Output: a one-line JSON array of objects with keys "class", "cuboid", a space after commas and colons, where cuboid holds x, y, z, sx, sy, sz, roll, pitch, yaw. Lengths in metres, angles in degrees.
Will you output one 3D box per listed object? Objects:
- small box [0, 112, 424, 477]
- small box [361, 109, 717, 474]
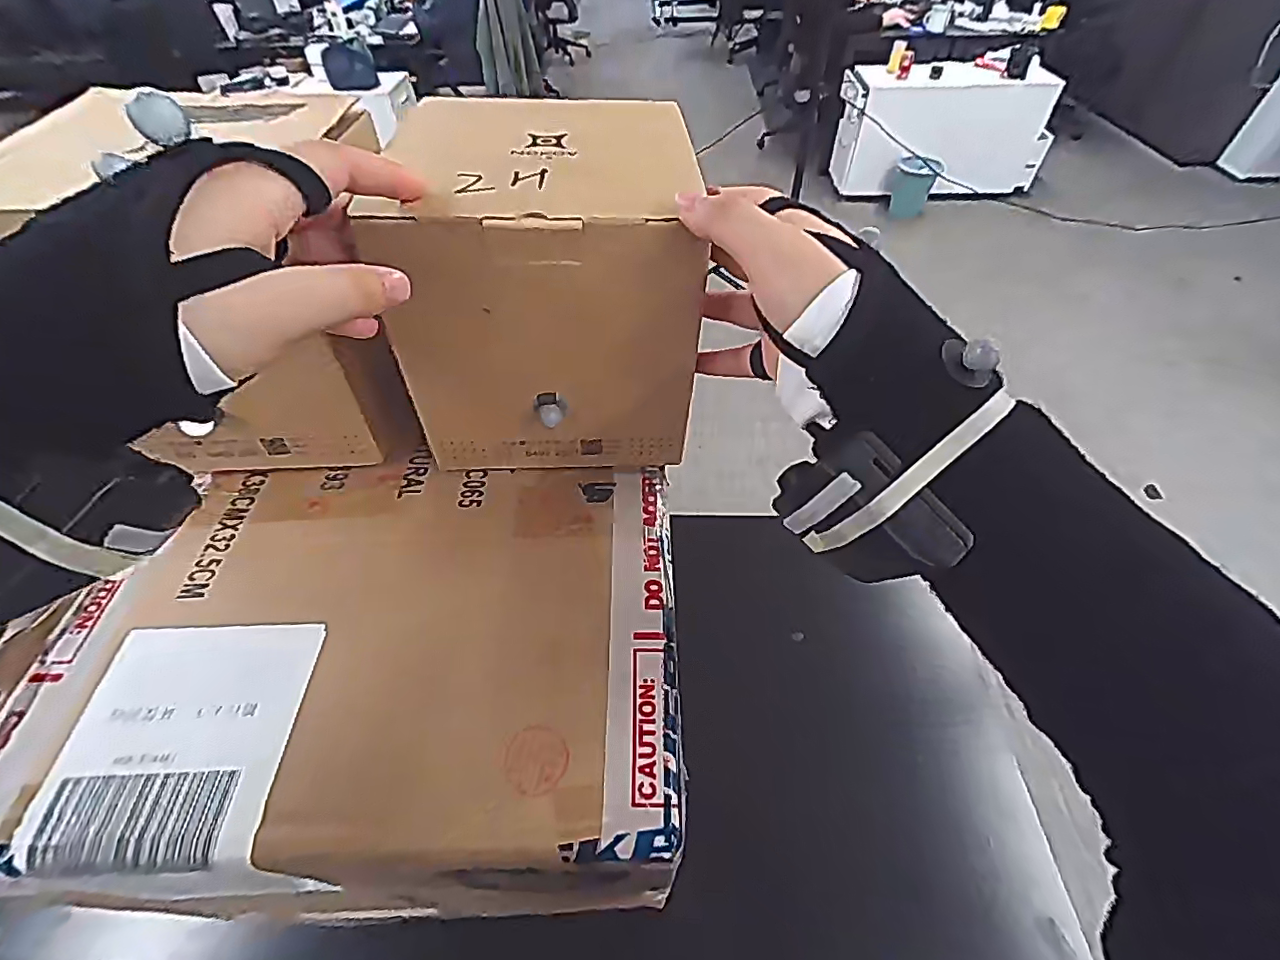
[{"class": "small box", "cuboid": [-0.251, -0.121, 0.357, 0.168, 0.176, 0.179, -2, 48, -4]}, {"class": "small box", "cuboid": [-0.051, -0.123, 0.361, 0.168, 0.176, 0.179, -1, 49, -3]}]
